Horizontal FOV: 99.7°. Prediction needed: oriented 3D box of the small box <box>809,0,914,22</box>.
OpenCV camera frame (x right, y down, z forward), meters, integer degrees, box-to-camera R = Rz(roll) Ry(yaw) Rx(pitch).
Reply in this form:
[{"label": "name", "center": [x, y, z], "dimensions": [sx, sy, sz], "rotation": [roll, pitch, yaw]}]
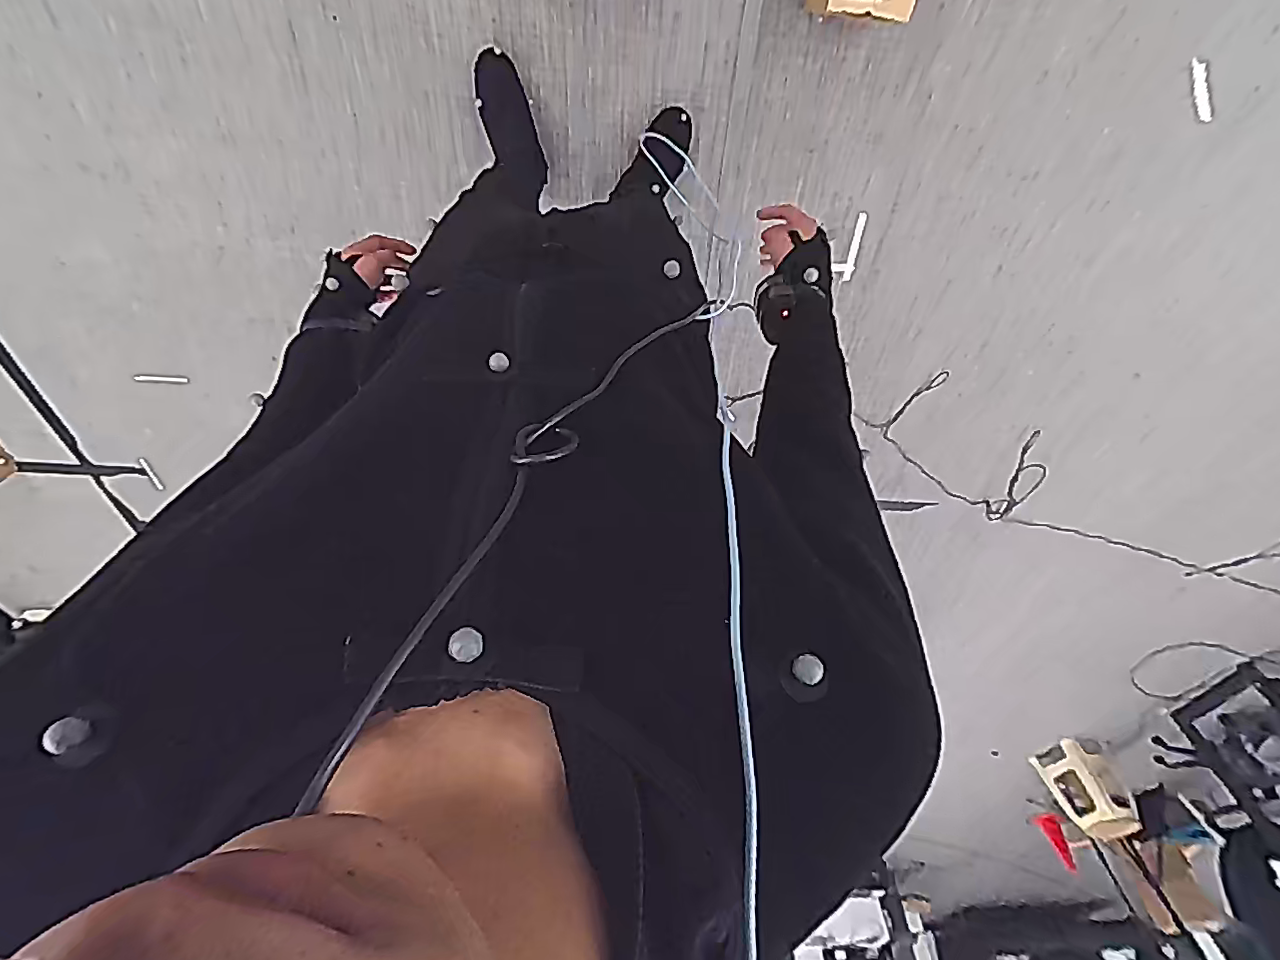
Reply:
[{"label": "small box", "center": [0.432, -0.988, 1.017], "dimensions": [0.168, 0.176, 0.179], "rotation": [4, 130, -6]}]
